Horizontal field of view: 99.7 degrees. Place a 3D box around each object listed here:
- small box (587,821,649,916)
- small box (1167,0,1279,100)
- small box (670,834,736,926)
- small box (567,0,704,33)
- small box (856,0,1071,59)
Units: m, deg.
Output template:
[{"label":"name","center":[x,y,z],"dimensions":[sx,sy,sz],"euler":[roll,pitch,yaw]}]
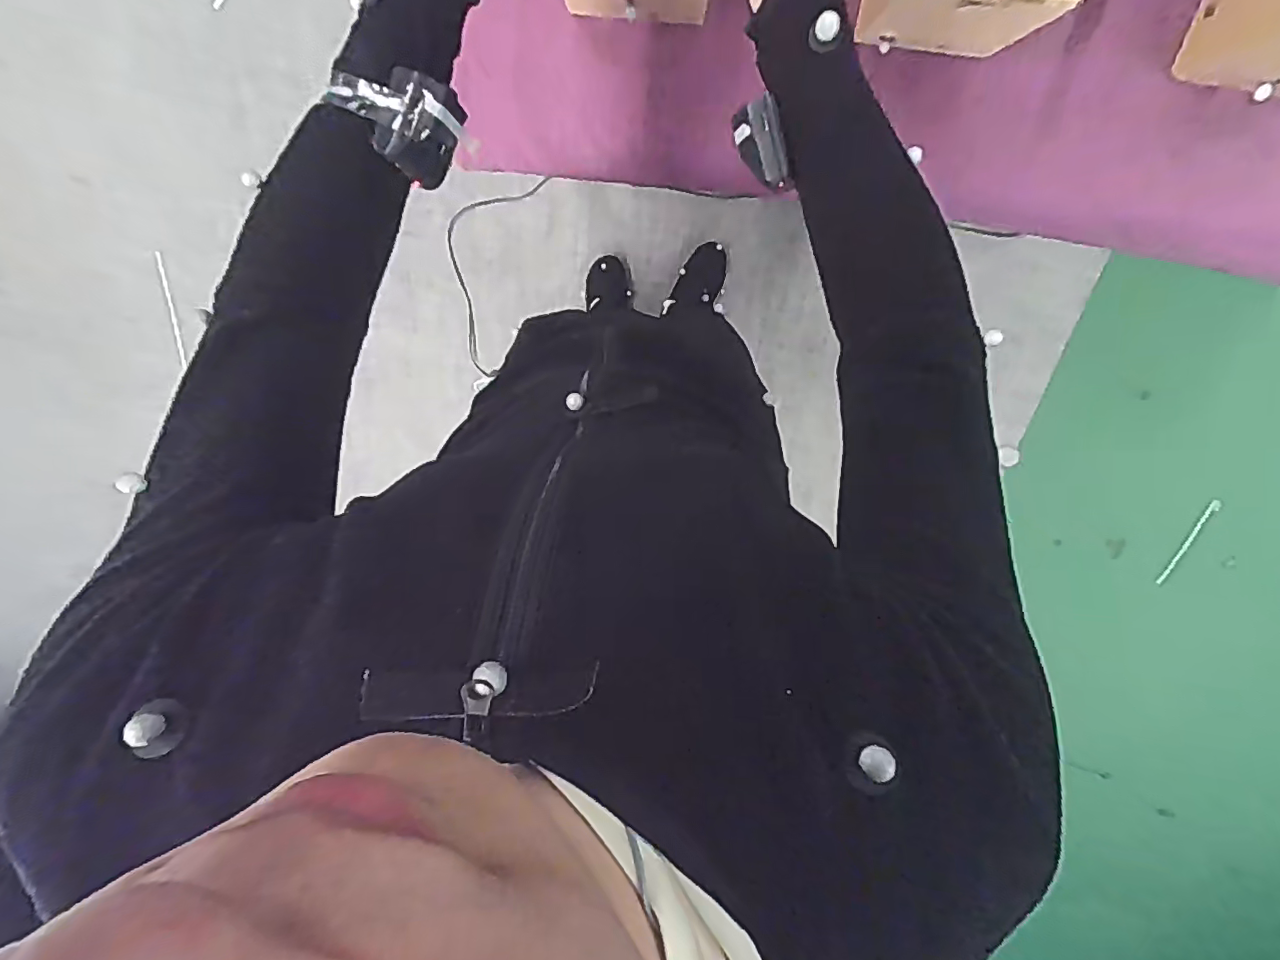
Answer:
[{"label":"small box","center":[-0.066,1.233,1.722],"dimensions":[0.168,0.176,0.179],"euler":[11,114,-1]},{"label":"small box","center":[0.728,-0.511,0.554],"dimensions":[0.179,0.176,0.168],"euler":[8,114,-1]},{"label":"small box","center":[0.195,1.270,1.723],"dimensions":[0.179,0.176,0.168],"euler":[10,114,1]},{"label":"small box","center":[-0.005,-0.600,0.551],"dimensions":[0.168,0.176,0.179],"euler":[6,115,1]},{"label":"small box","center":[0.340,-0.563,0.551],"dimensions":[0.168,0.176,0.179],"euler":[7,114,0]}]
